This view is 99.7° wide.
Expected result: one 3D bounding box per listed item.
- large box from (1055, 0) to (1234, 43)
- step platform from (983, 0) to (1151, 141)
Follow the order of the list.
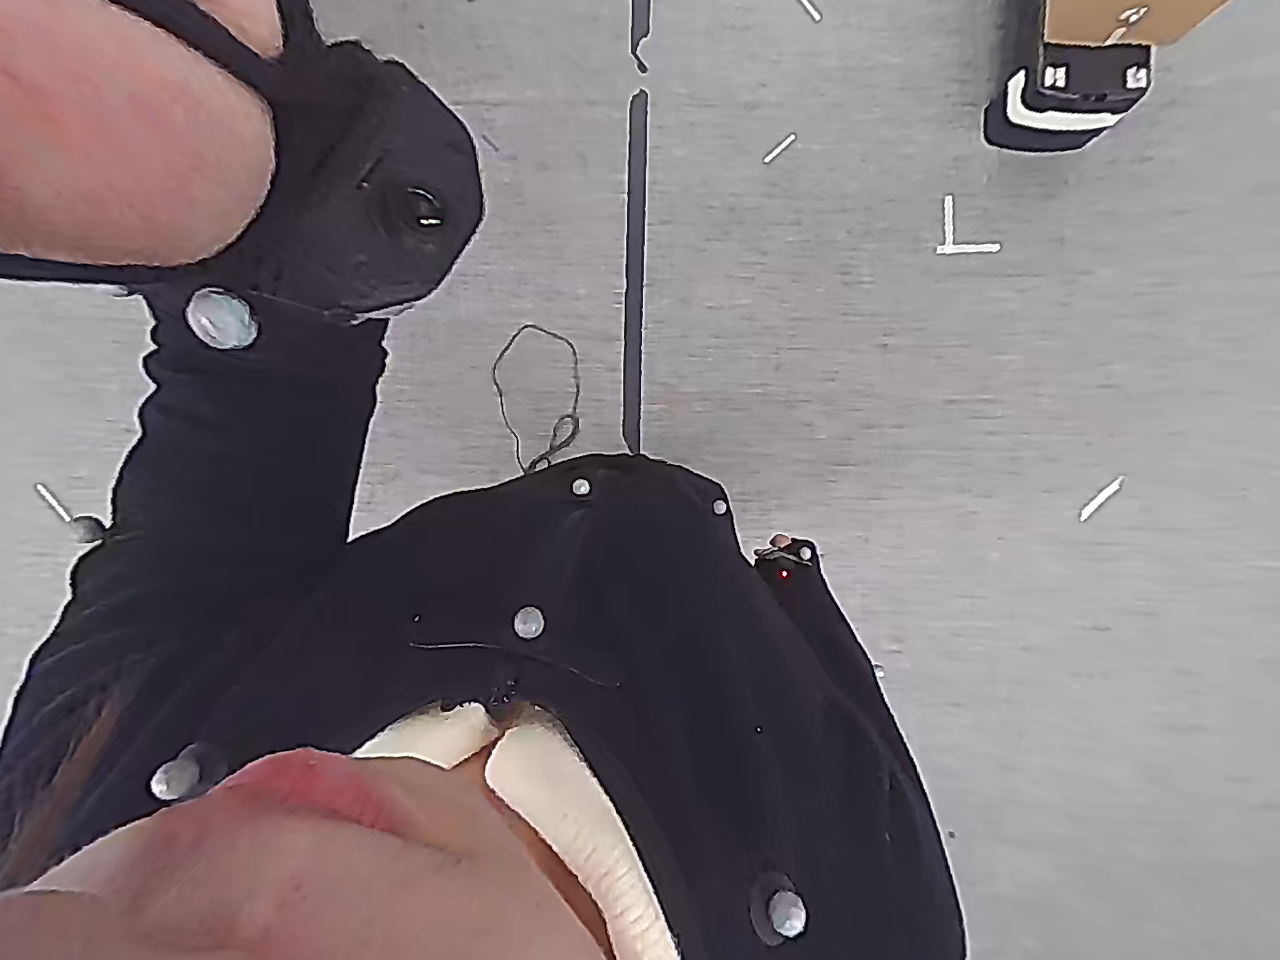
[{"bbox_3d":[1.121,-1.219,1.118,0.320,0.320,0.408,2,90,0],"label":"large box"},{"bbox_3d":[1.097,-1.254,1.355,0.286,0.204,0.684,7,91,0],"label":"step platform"}]
